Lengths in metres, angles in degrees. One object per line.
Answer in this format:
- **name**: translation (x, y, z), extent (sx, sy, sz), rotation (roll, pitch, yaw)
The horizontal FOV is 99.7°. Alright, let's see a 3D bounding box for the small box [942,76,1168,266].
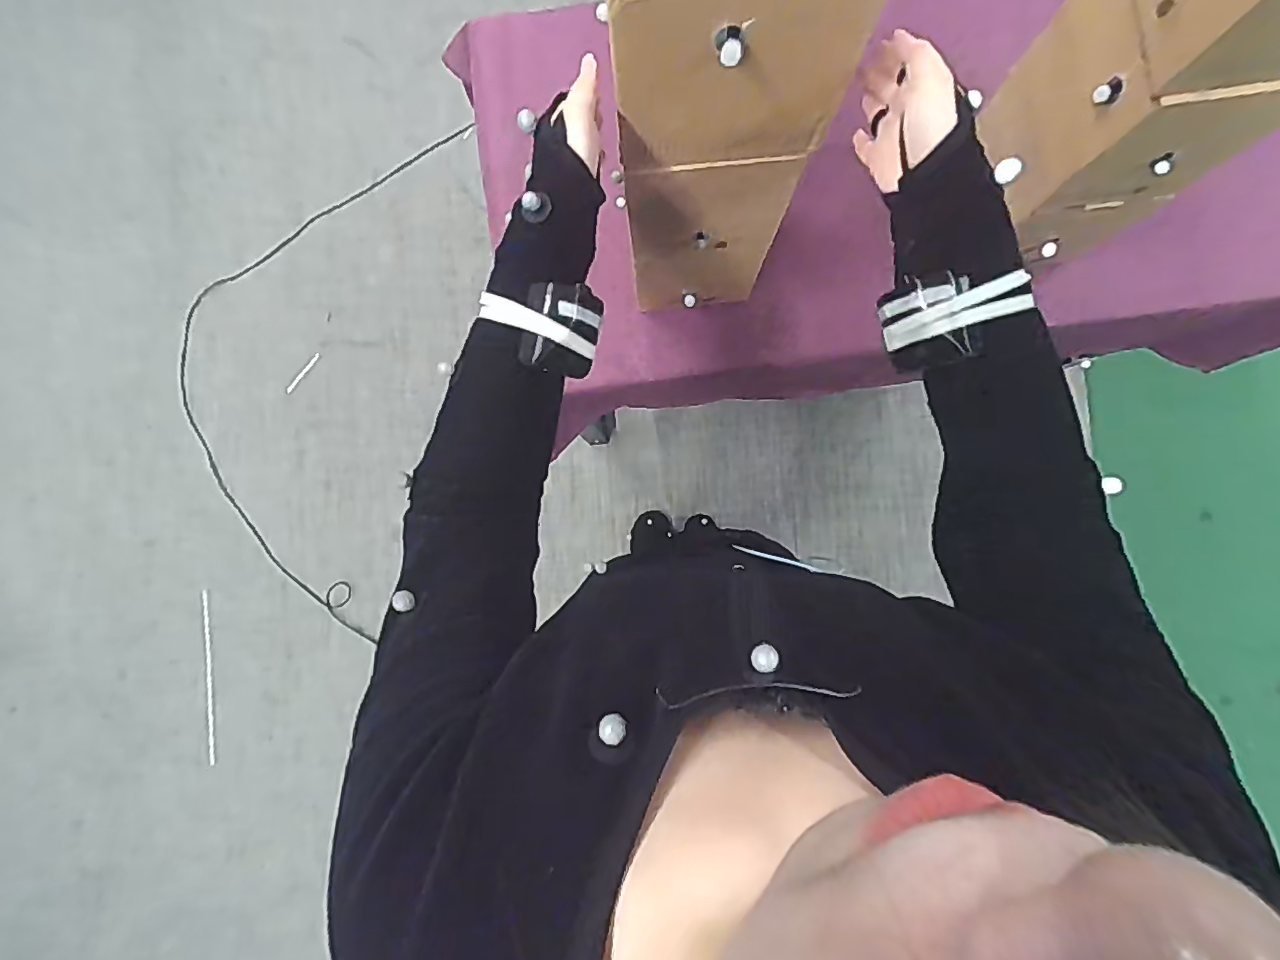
- **small box**: translation (0.531, -0.401, 0.717), extent (0.168, 0.176, 0.179), rotation (-6, 87, 1)

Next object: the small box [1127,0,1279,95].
- **small box**: translation (0.511, -0.423, 0.390), extent (0.179, 0.176, 0.168), rotation (-6, 85, 3)

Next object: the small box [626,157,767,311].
- **small box**: translation (0.068, -0.348, 0.731), extent (0.168, 0.176, 0.179), rotation (-5, 87, 2)

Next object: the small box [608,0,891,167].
- **small box**: translation (0.066, -0.366, 0.404), extent (0.179, 0.176, 0.168), rotation (-4, 87, 3)

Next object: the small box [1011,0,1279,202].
- **small box**: translation (0.522, -0.409, 0.553), extent (0.168, 0.176, 0.179), rotation (-6, 86, 1)
